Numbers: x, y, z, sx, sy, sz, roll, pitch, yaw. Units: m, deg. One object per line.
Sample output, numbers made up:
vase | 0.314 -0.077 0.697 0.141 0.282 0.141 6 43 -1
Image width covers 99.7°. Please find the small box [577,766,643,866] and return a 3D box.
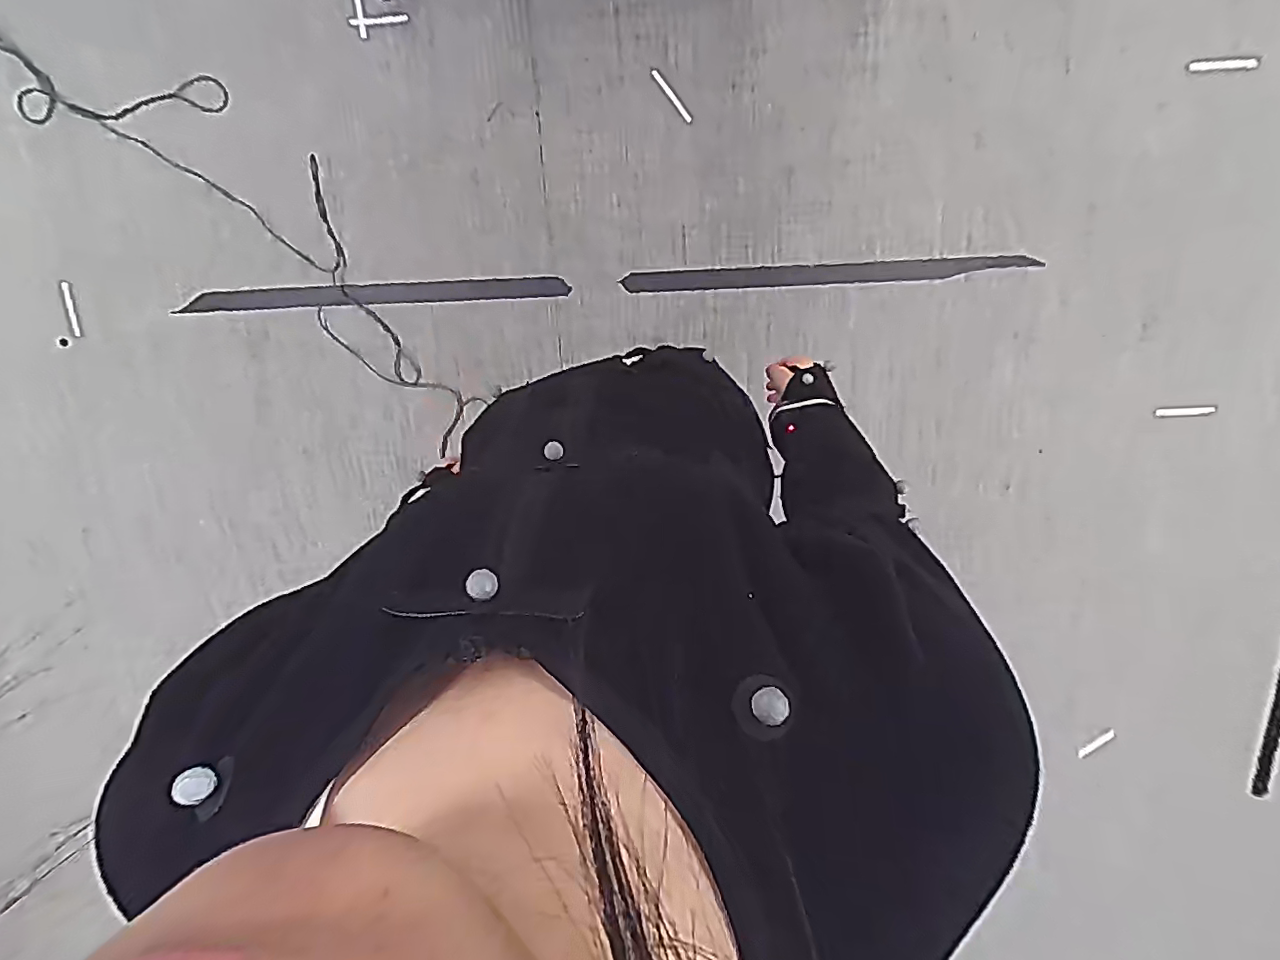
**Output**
small box | -0.081 0.977 1.578 0.168 0.176 0.179 -9 103 1
